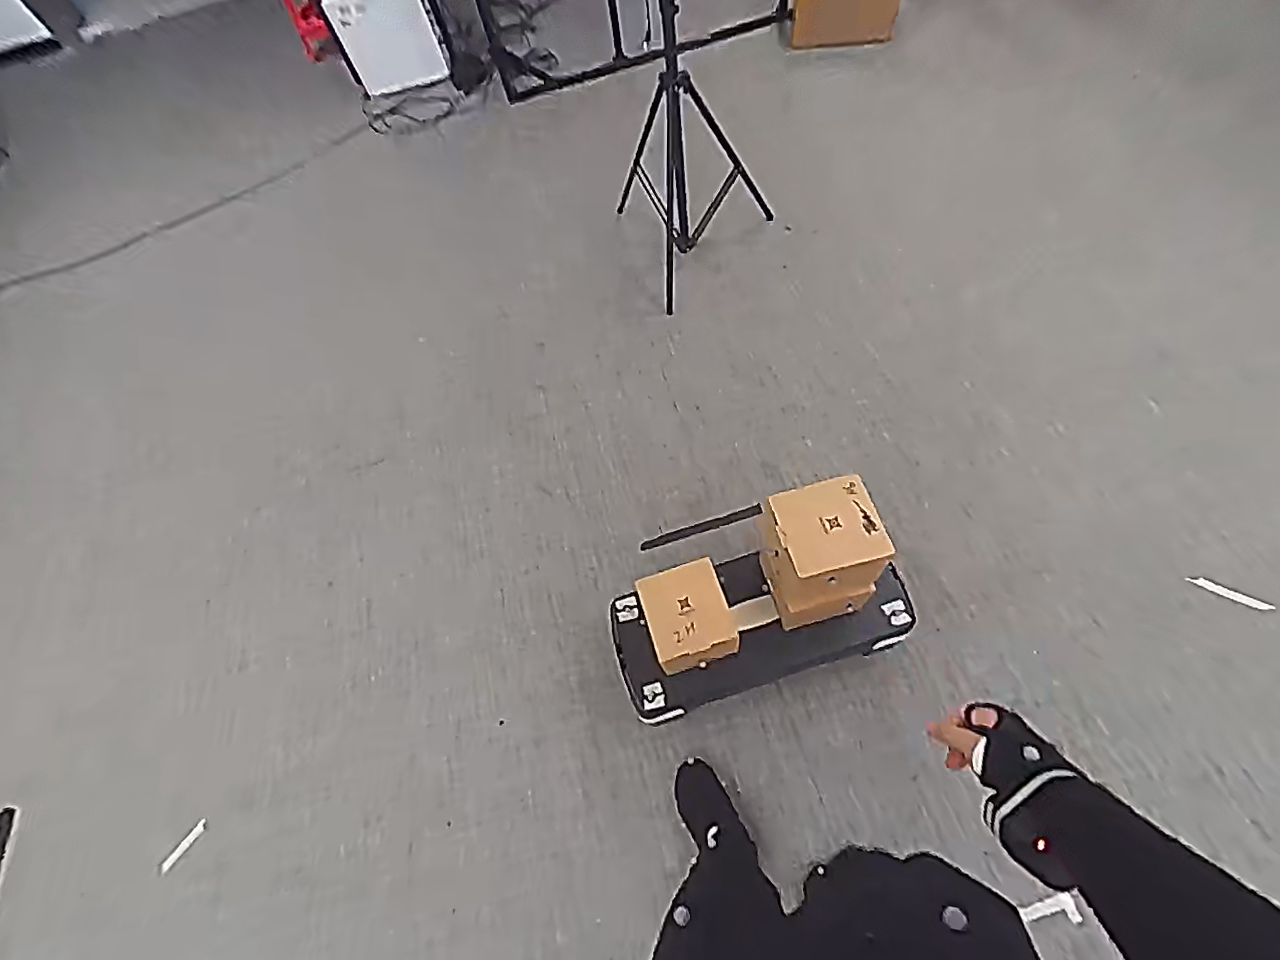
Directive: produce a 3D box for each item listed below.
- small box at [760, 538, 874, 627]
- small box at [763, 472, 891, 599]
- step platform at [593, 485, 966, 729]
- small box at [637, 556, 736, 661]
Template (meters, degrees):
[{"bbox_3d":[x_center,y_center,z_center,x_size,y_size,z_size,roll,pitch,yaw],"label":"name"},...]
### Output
[{"bbox_3d":[0.364,0.204,1.160,0.179,0.176,0.168,-18,61,-1],"label":"small box"},{"bbox_3d":[0.340,0.112,1.026,0.179,0.176,0.168,-15,62,1],"label":"small box"},{"bbox_3d":[0.262,0.263,1.104,0.684,0.204,0.286,-18,62,-1],"label":"step platform"},{"bbox_3d":[0.097,0.289,1.155,0.168,0.176,0.179,-18,62,-1],"label":"small box"}]
